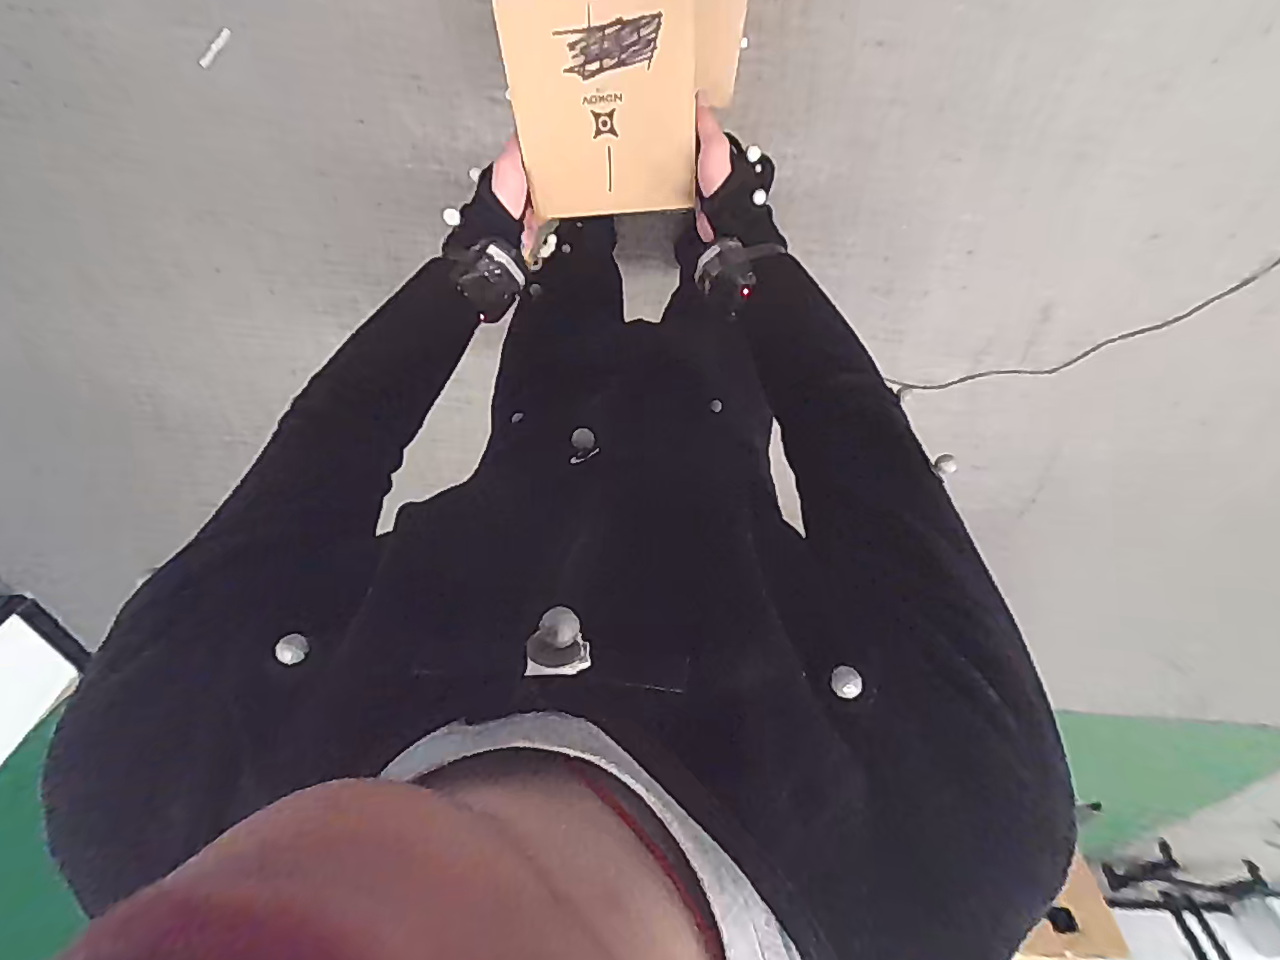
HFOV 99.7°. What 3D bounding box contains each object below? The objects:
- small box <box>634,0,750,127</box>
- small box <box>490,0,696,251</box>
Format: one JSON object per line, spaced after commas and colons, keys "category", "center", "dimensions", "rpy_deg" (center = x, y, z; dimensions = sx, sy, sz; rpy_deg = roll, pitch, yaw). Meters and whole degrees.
{"category": "small box", "center": [0.071, -0.679, 0.855], "dimensions": [0.168, 0.176, 0.179], "rpy_deg": [3, 130, -2]}
{"category": "small box", "center": [-0.032, -0.352, 0.535], "dimensions": [0.168, 0.176, 0.179], "rpy_deg": [-3, 136, 4]}
